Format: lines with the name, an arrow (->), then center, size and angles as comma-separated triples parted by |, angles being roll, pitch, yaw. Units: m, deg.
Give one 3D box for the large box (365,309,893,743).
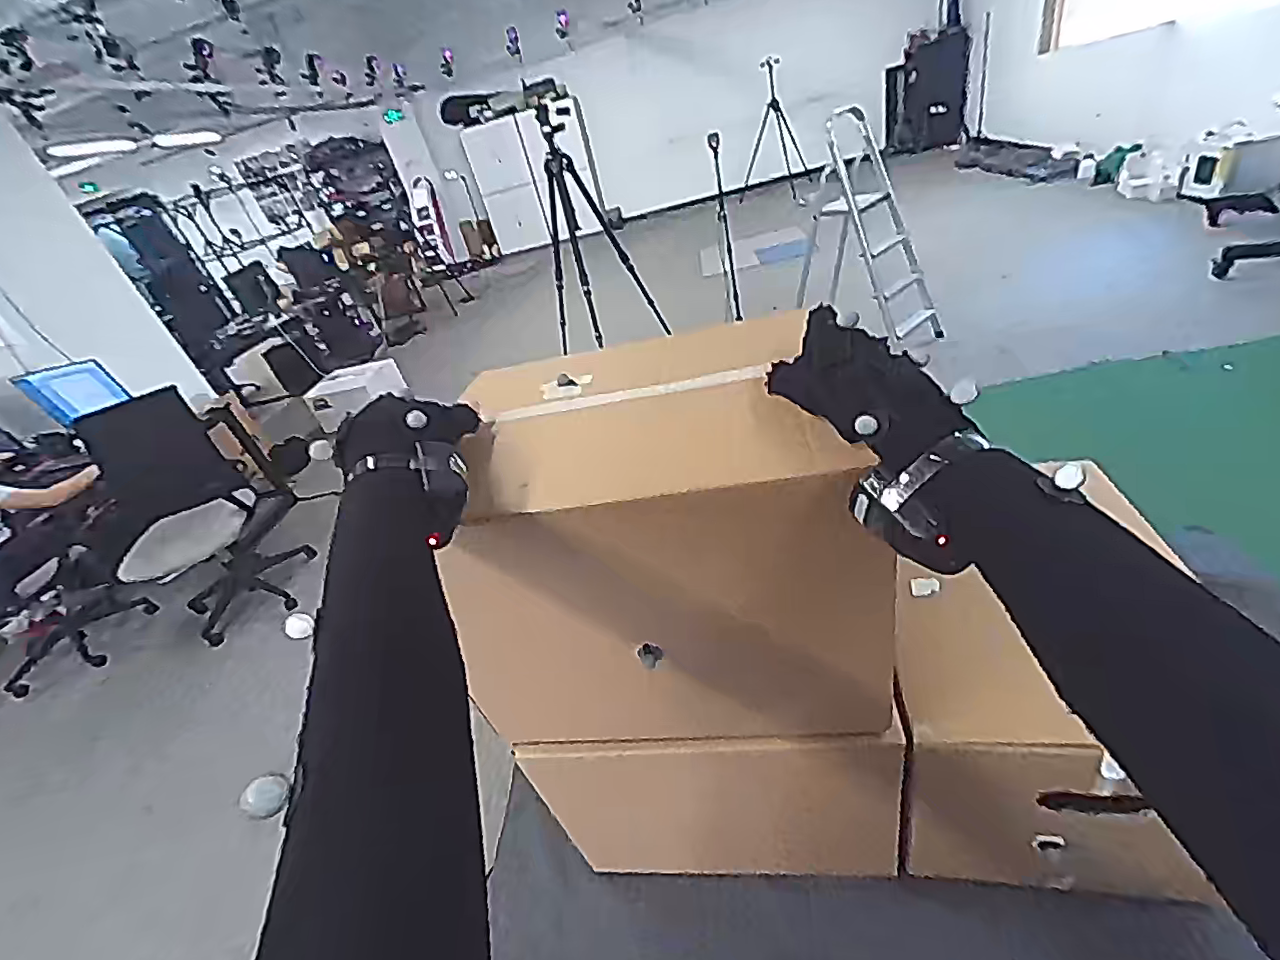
large box -> 0.021, 0.053, 0.591 | 0.408, 0.320, 0.320 | -9, 33, 13
